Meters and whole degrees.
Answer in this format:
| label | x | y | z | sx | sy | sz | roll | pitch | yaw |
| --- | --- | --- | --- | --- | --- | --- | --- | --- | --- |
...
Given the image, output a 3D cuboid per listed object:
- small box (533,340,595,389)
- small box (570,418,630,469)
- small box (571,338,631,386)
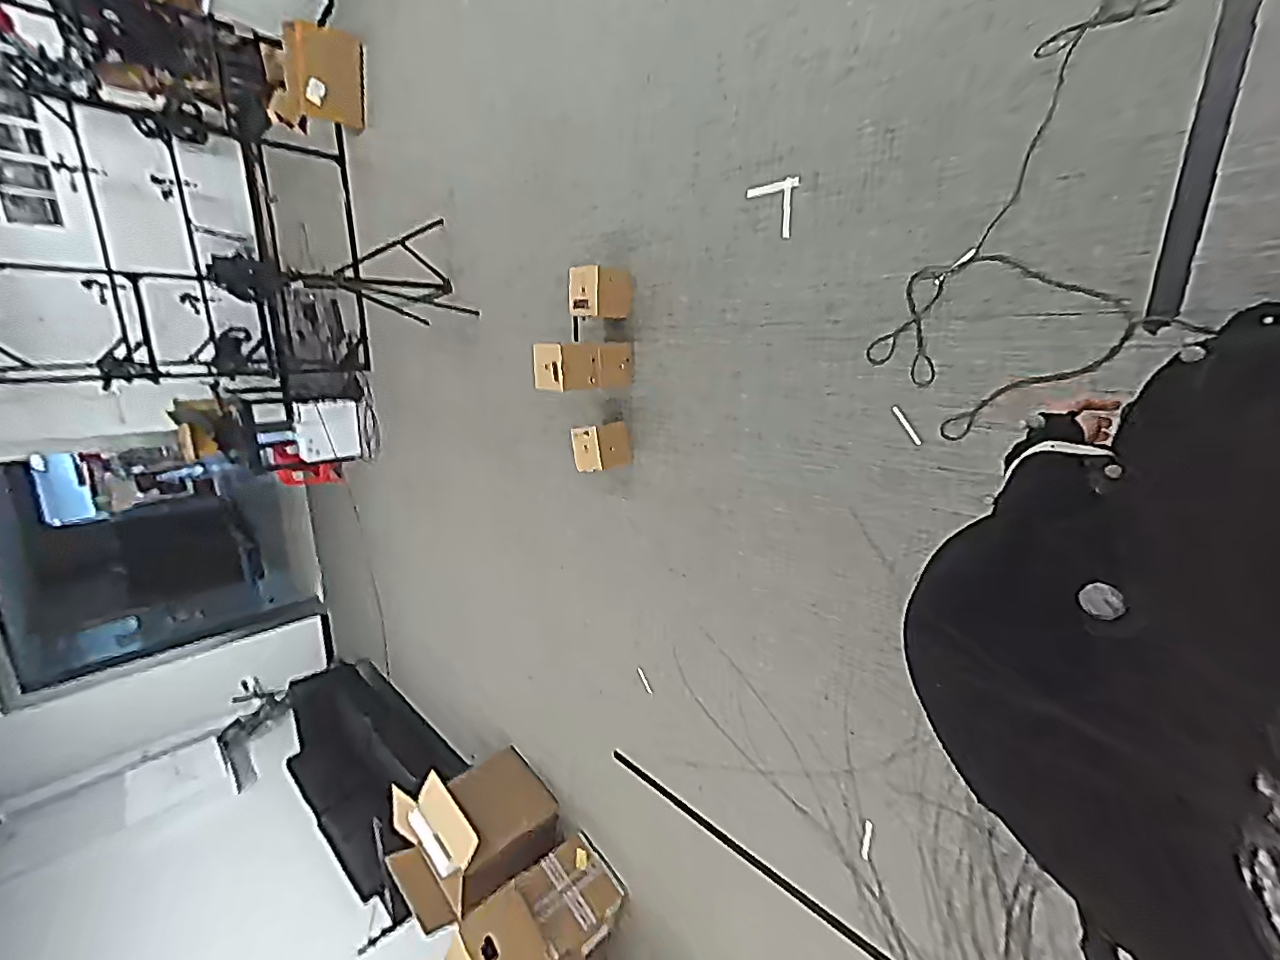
| label | x | y | z | sx | sy | sz | roll | pitch | yaw |
| --- | --- | --- | --- | --- | --- | --- | --- | --- | --- |
| small box | -0.278 | -0.435 | 2.013 | 0.179 | 0.176 | 0.168 | 14 | 110 | 44 |
| small box | -0.160 | -0.149 | 2.210 | 0.168 | 0.176 | 0.179 | -2 | 100 | 45 |
| small box | -0.156 | -0.466 | 2.118 | 0.179 | 0.176 | 0.168 | 18 | 113 | 41 |
